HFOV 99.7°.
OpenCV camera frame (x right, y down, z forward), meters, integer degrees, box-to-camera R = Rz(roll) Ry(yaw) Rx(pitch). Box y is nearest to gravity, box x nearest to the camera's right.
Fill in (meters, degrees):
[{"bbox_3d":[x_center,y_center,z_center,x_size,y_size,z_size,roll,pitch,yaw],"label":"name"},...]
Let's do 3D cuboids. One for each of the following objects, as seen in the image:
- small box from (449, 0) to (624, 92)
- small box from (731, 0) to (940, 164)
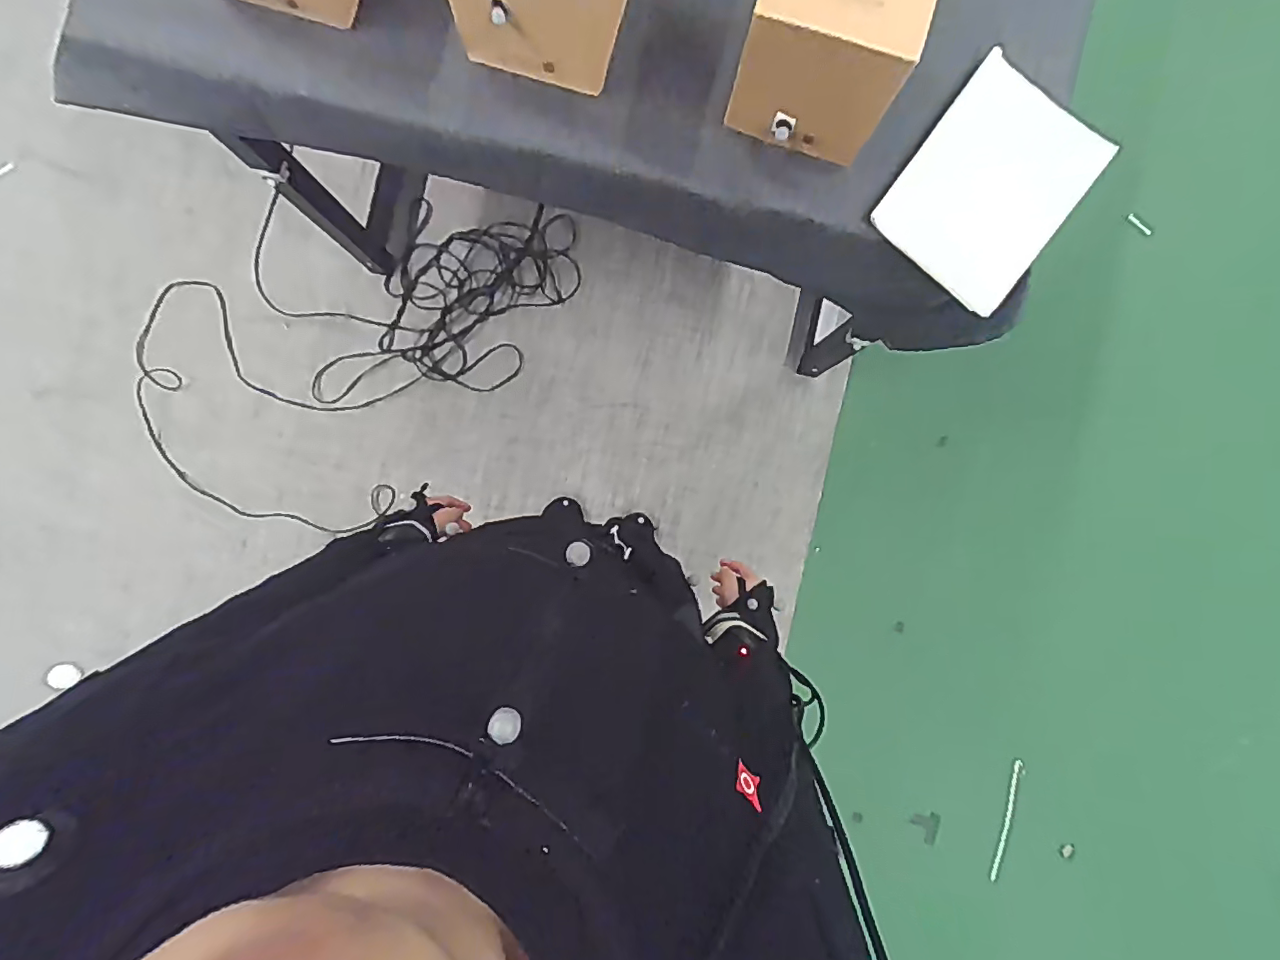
[{"bbox_3d":[-0.105,-0.567,0.576,0.168,0.176,0.179,15,88,-1],"label":"small box"},{"bbox_3d":[0.207,-0.491,0.585,0.168,0.176,0.179,16,89,0],"label":"small box"}]
